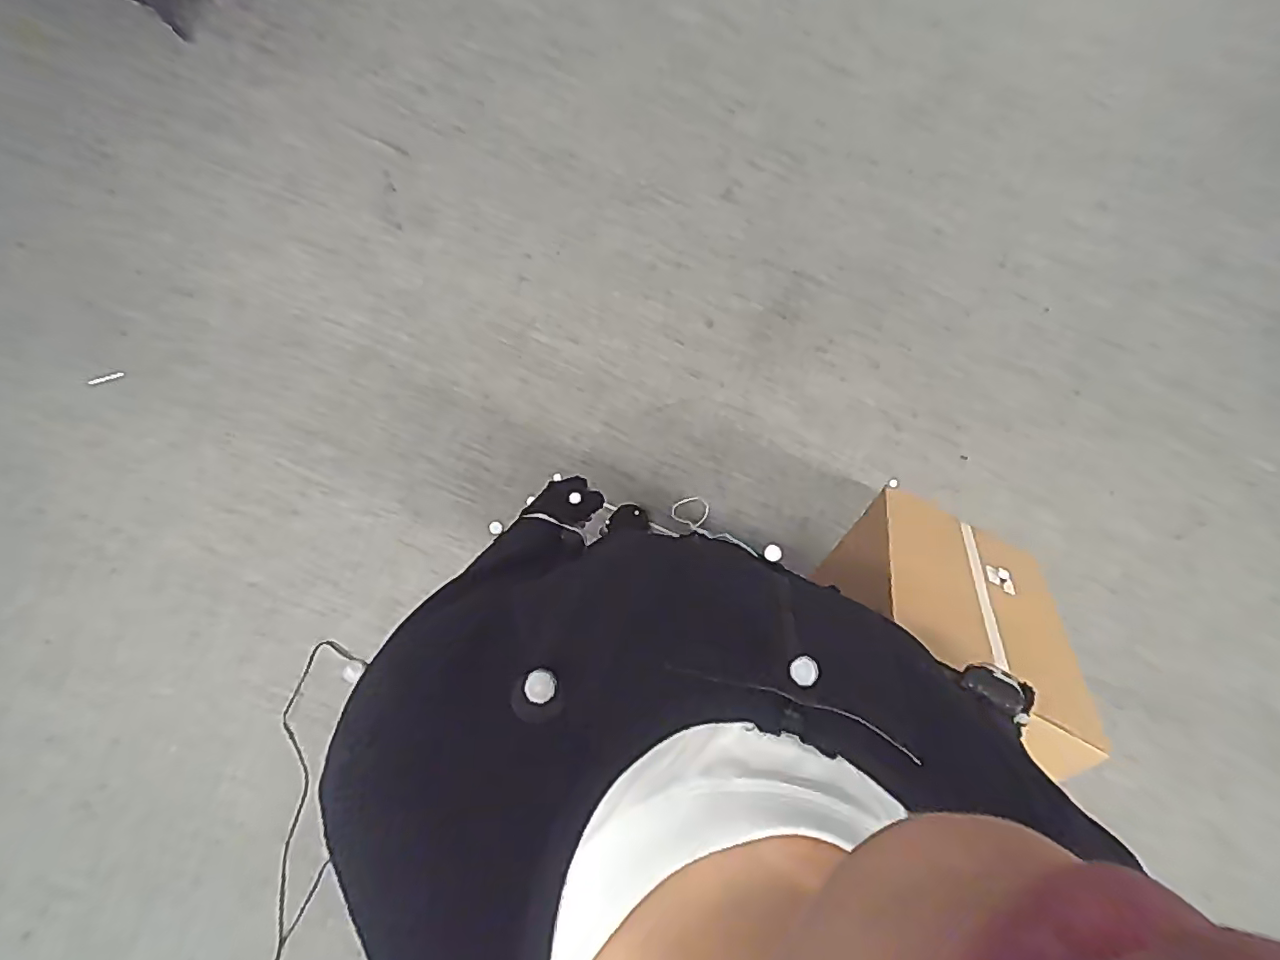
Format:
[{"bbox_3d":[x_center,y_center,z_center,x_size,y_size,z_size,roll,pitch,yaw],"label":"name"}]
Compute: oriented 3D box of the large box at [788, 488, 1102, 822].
[{"bbox_3d":[0.489,0.292,0.965,0.320,0.408,0.320,28,127,4],"label":"large box"}]
